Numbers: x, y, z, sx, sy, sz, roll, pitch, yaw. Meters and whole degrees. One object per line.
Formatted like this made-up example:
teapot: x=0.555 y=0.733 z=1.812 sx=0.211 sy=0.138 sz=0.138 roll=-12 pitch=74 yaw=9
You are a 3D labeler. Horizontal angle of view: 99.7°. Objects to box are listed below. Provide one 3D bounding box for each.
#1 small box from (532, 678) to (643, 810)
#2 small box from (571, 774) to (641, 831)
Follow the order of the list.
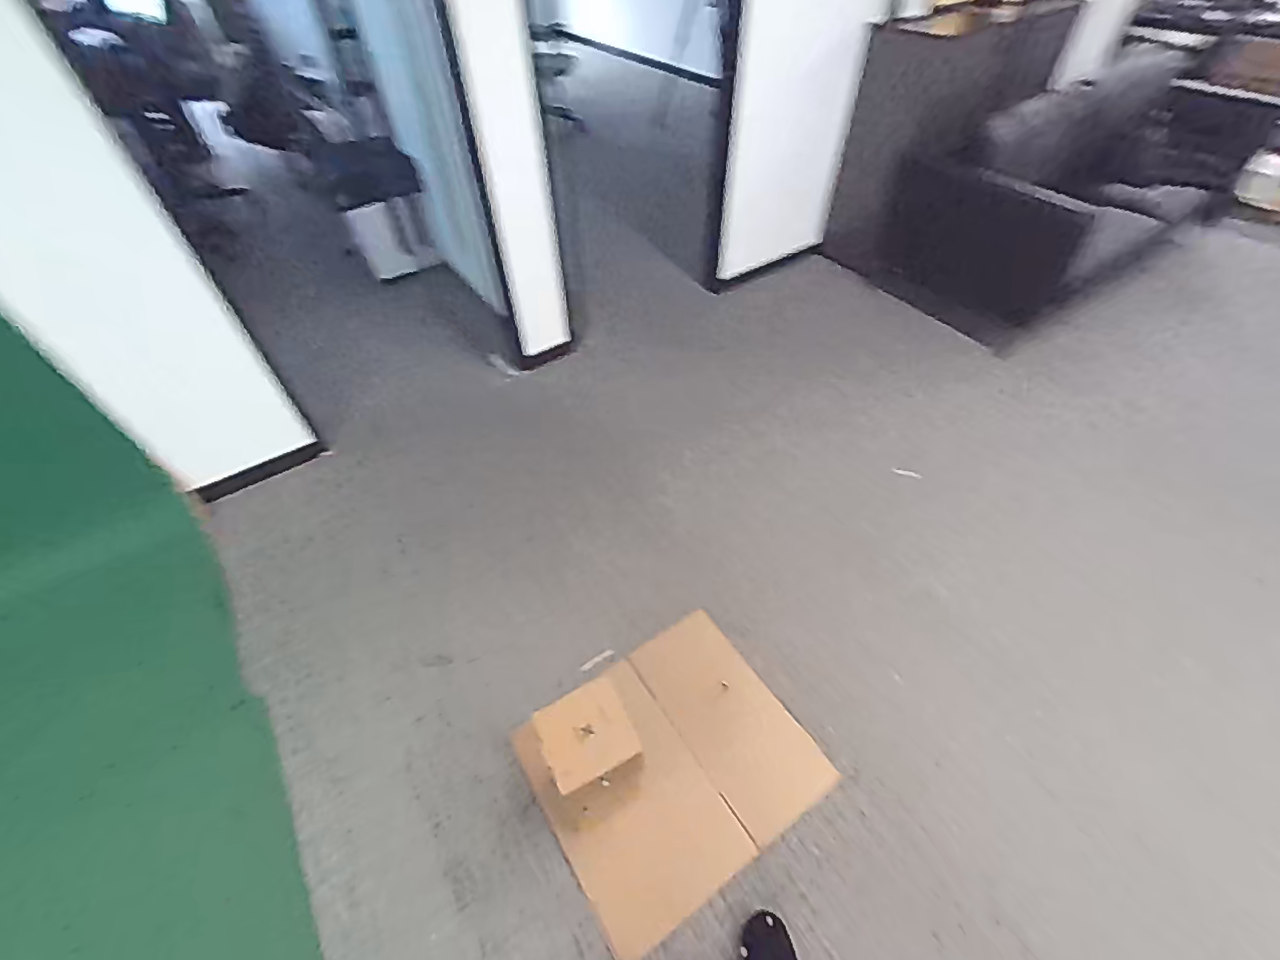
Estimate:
small box: x=-0.102 y=0.551 z=1.122 sx=0.179 sy=0.176 sz=0.168 roll=-22 pitch=53 yaw=-17
small box: x=-0.106 y=0.757 z=1.377 sx=0.179 sy=0.176 sz=0.168 roll=-24 pitch=52 yaw=-19
